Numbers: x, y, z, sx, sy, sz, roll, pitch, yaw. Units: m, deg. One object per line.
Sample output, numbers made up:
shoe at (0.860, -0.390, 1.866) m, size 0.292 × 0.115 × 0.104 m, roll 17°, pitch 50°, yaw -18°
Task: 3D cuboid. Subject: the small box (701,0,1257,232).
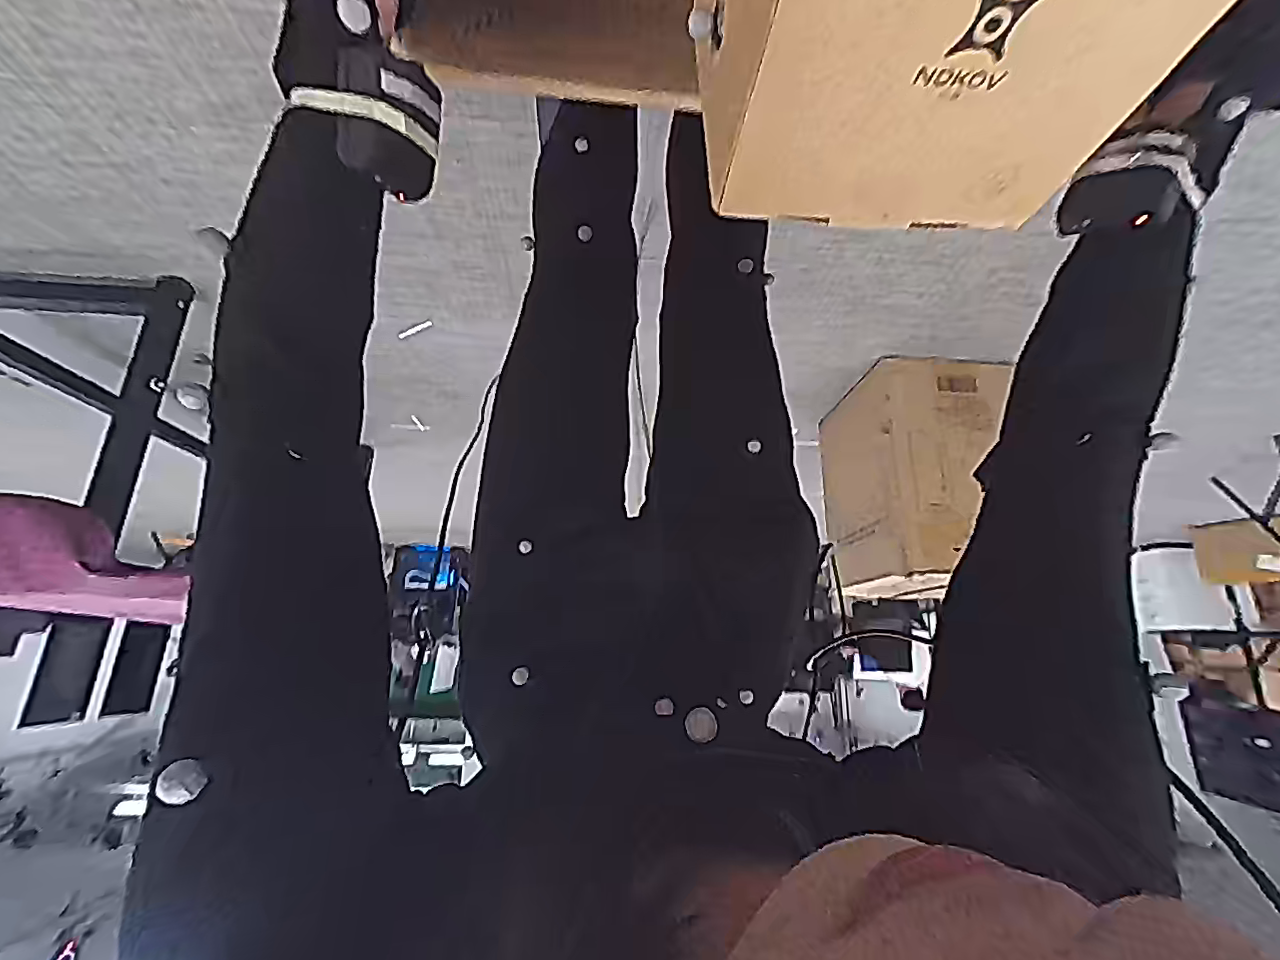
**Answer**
small box at (0.122, -0.233, 0.217) m, size 0.168 × 0.176 × 0.179 m, roll -1°, pitch 158°, yaw -5°
